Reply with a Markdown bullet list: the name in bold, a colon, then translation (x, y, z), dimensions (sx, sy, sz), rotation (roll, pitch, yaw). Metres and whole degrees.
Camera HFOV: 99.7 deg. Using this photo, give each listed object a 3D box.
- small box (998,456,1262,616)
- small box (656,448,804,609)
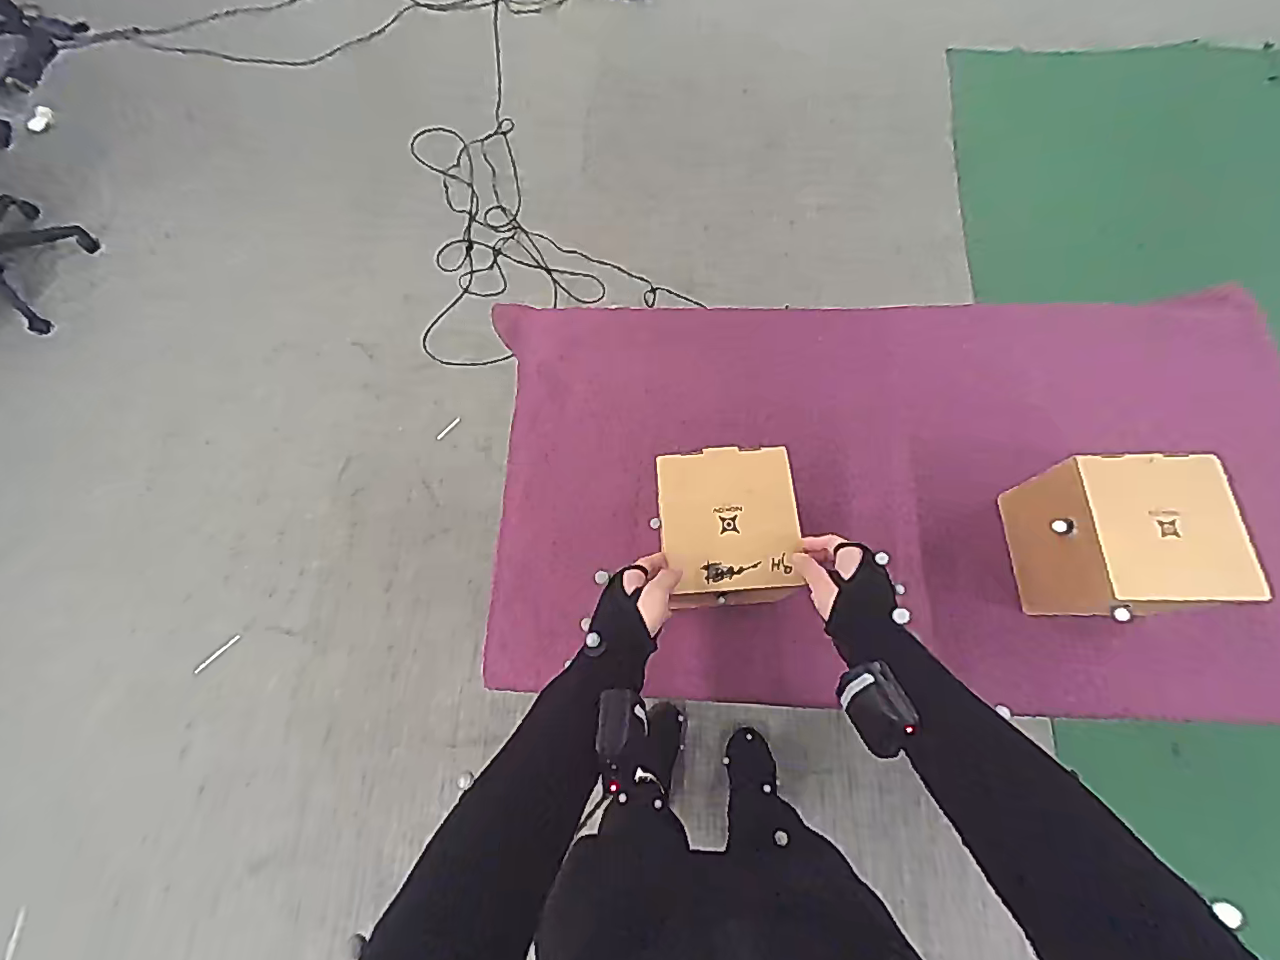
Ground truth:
- **small box**: translation (0.604, 0.080, 0.698), dimensions (0.168, 0.176, 0.179), rotation (-1, 70, 4)
- **small box**: translation (0.107, 0.072, 0.728), dimensions (0.168, 0.176, 0.179), rotation (-5, 71, 2)
